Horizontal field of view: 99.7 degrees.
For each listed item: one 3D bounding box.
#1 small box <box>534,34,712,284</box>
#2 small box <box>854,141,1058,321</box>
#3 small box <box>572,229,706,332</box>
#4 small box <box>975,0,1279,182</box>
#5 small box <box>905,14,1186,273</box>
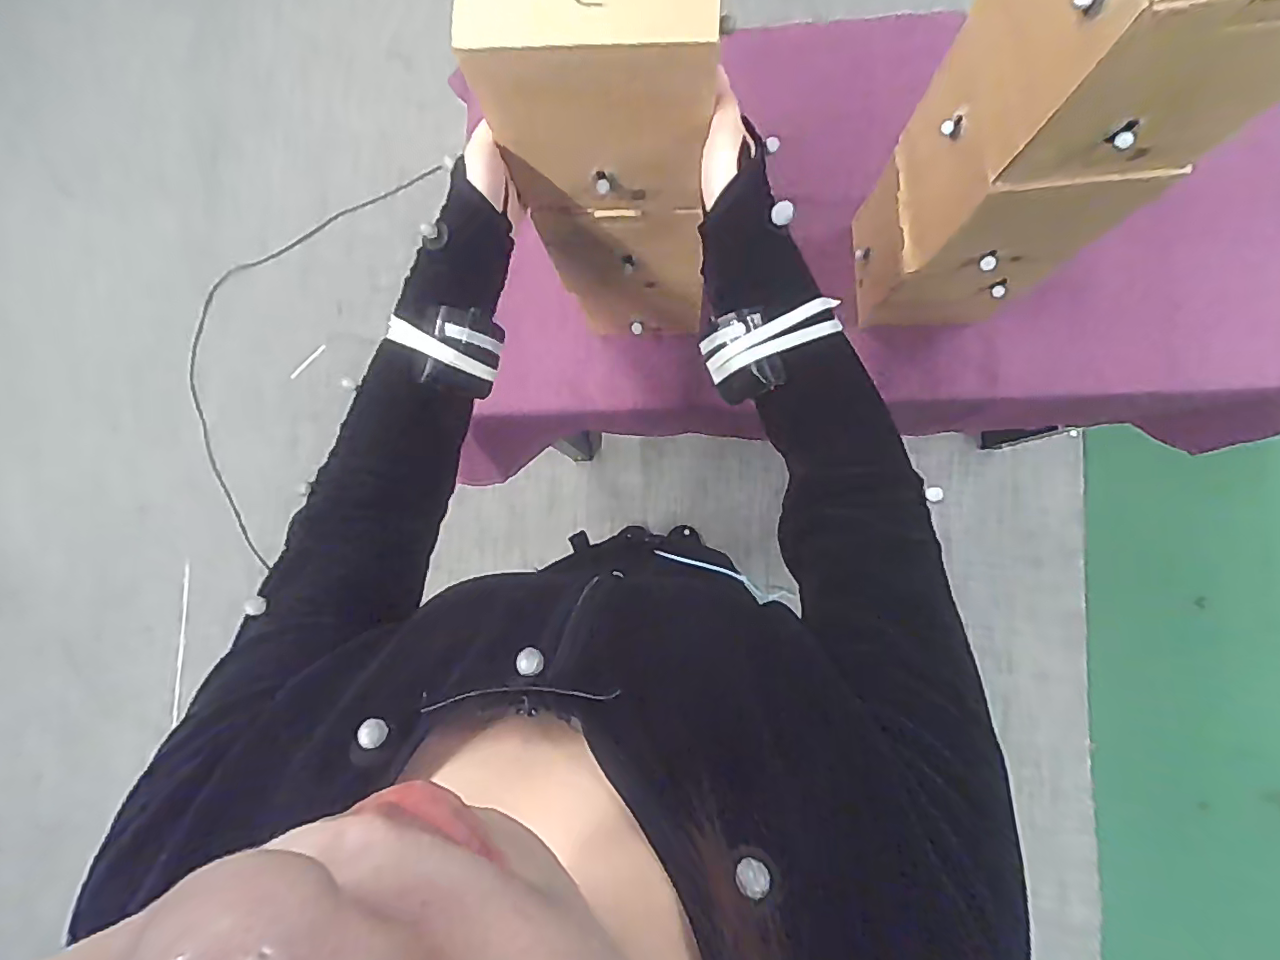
[{"bbox_3d":[-0.010,-0.324,0.582,0.168,0.176,0.179,1,86,4],"label":"small box"},{"bbox_3d":[0.402,-0.321,0.716,0.179,0.176,0.168,-1,85,4],"label":"small box"},{"bbox_3d":[0.004,-0.319,0.746,0.168,0.176,0.179,0,86,4],"label":"small box"},{"bbox_3d":[0.374,-0.356,0.394,0.168,0.176,0.179,-5,86,4],"label":"small box"},{"bbox_3d":[0.390,-0.337,0.555,0.168,0.176,0.179,-2,86,5],"label":"small box"}]
